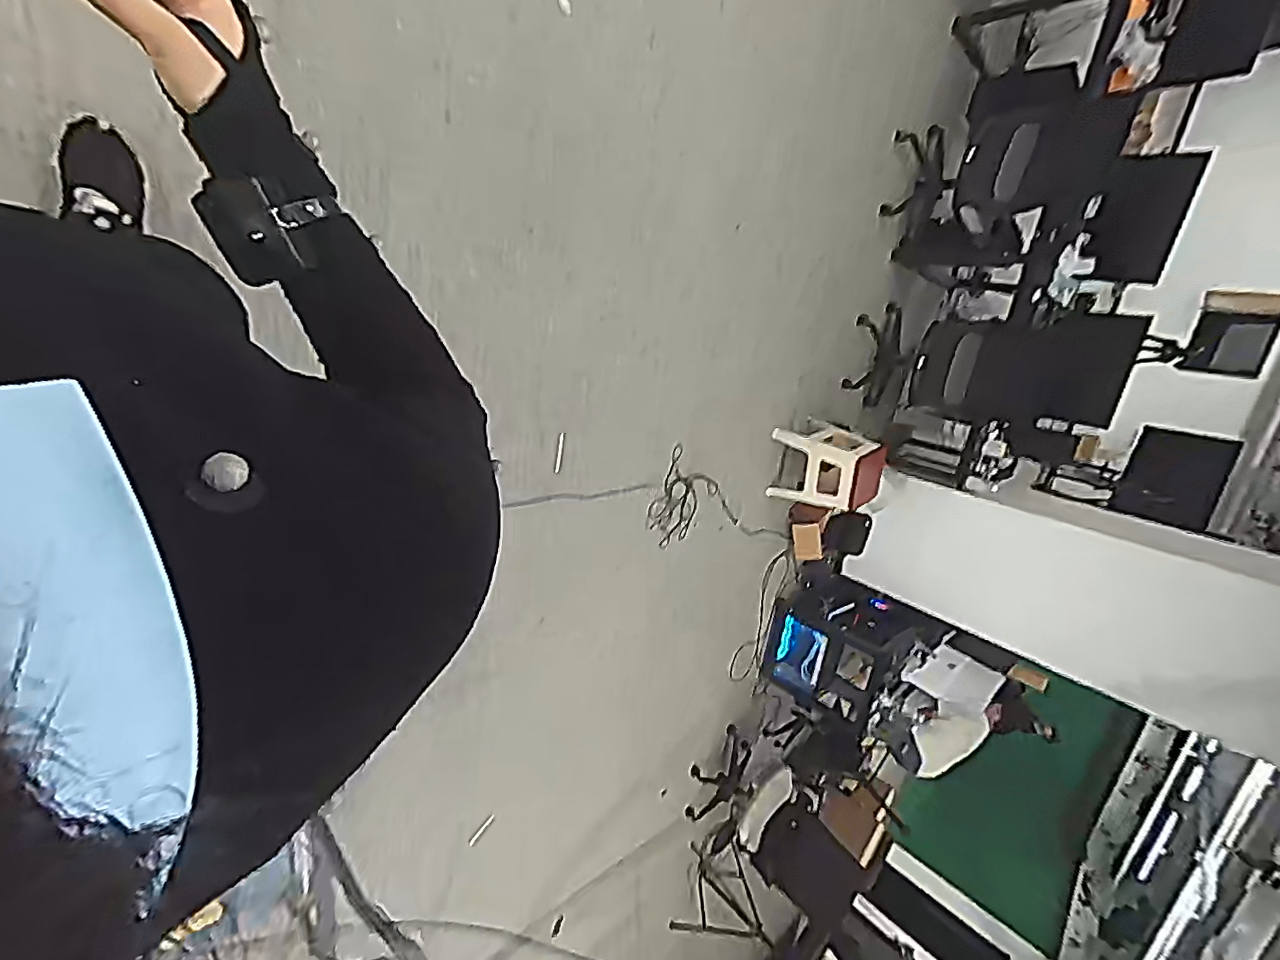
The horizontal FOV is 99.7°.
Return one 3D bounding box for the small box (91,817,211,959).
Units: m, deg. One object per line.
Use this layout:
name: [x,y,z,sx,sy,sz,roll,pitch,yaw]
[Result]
small box: [-1.047,0.882,1.161,0.168,0.176,0.179,-12,115,-43]
